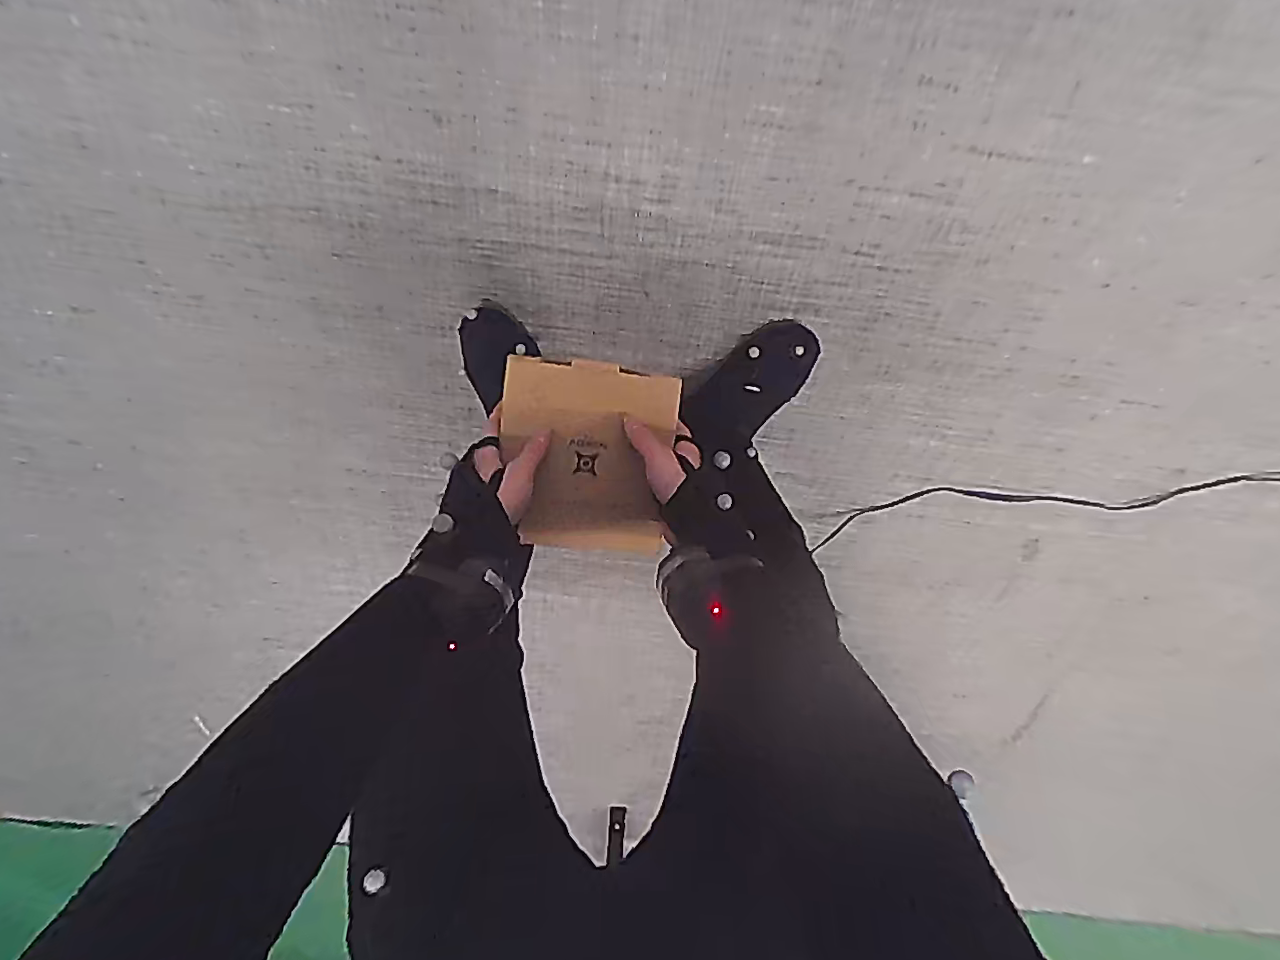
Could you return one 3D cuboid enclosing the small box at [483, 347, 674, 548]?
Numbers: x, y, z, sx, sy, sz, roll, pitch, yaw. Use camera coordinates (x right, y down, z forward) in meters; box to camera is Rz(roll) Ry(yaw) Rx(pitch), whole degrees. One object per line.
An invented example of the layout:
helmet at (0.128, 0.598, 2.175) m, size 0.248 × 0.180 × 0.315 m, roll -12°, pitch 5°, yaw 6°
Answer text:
small box at (-0.067, -0.041, 0.591) m, size 0.168 × 0.176 × 0.179 m, roll 7°, pitch 100°, yaw -7°
